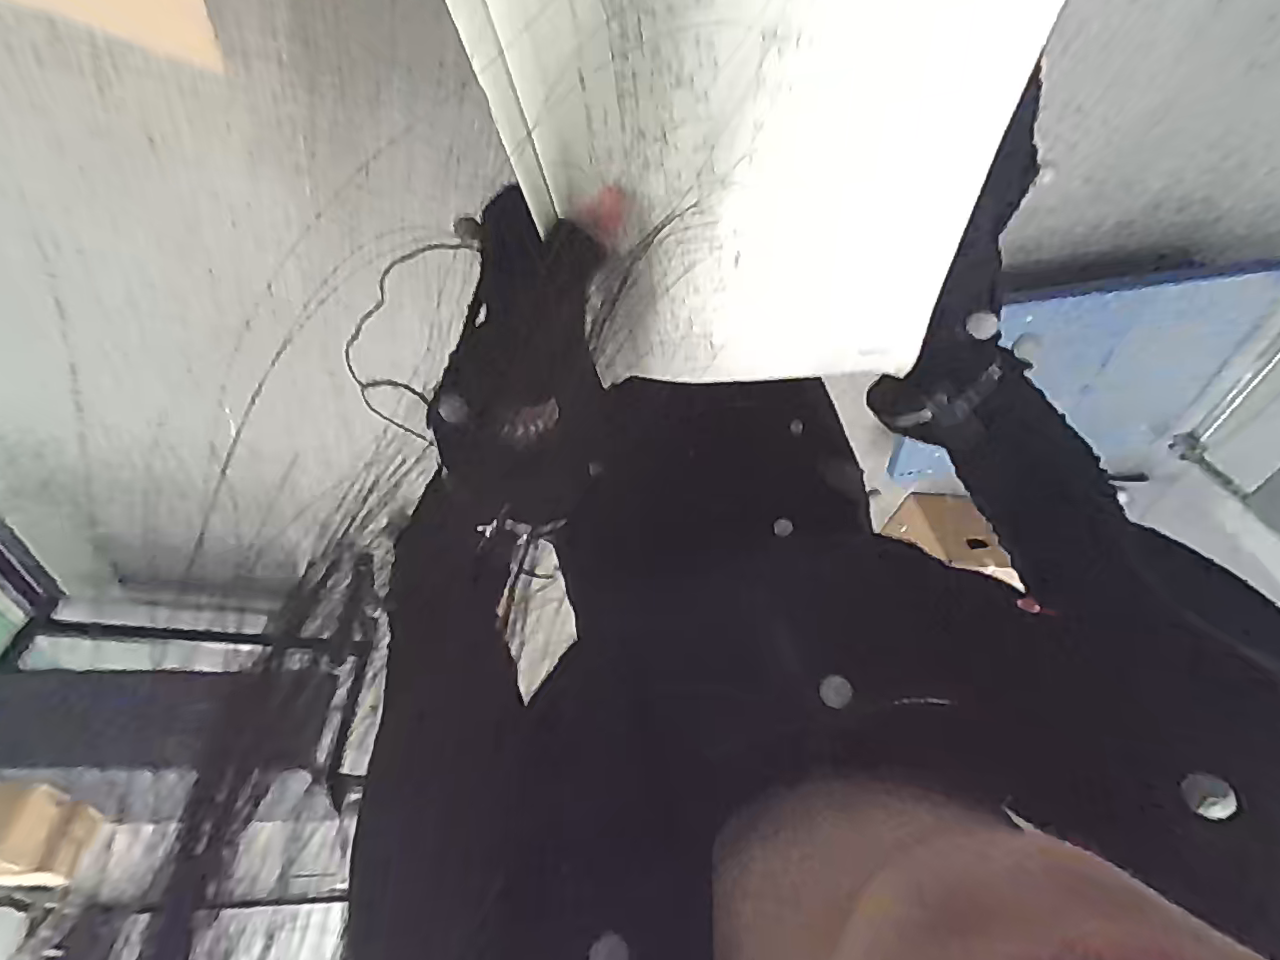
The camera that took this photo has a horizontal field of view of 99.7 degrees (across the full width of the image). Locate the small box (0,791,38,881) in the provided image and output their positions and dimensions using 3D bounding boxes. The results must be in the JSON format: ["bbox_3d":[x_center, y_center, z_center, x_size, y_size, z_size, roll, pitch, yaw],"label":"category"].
[{"bbox_3d":[-1.627,0.859,1.301,0.179,0.176,0.168,8,136,-14],"label":"small box"}]

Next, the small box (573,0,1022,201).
[{"bbox_3d":[0.056,-0.255,0.244,0.179,0.176,0.168,-6,144,1],"label":"small box"}]
